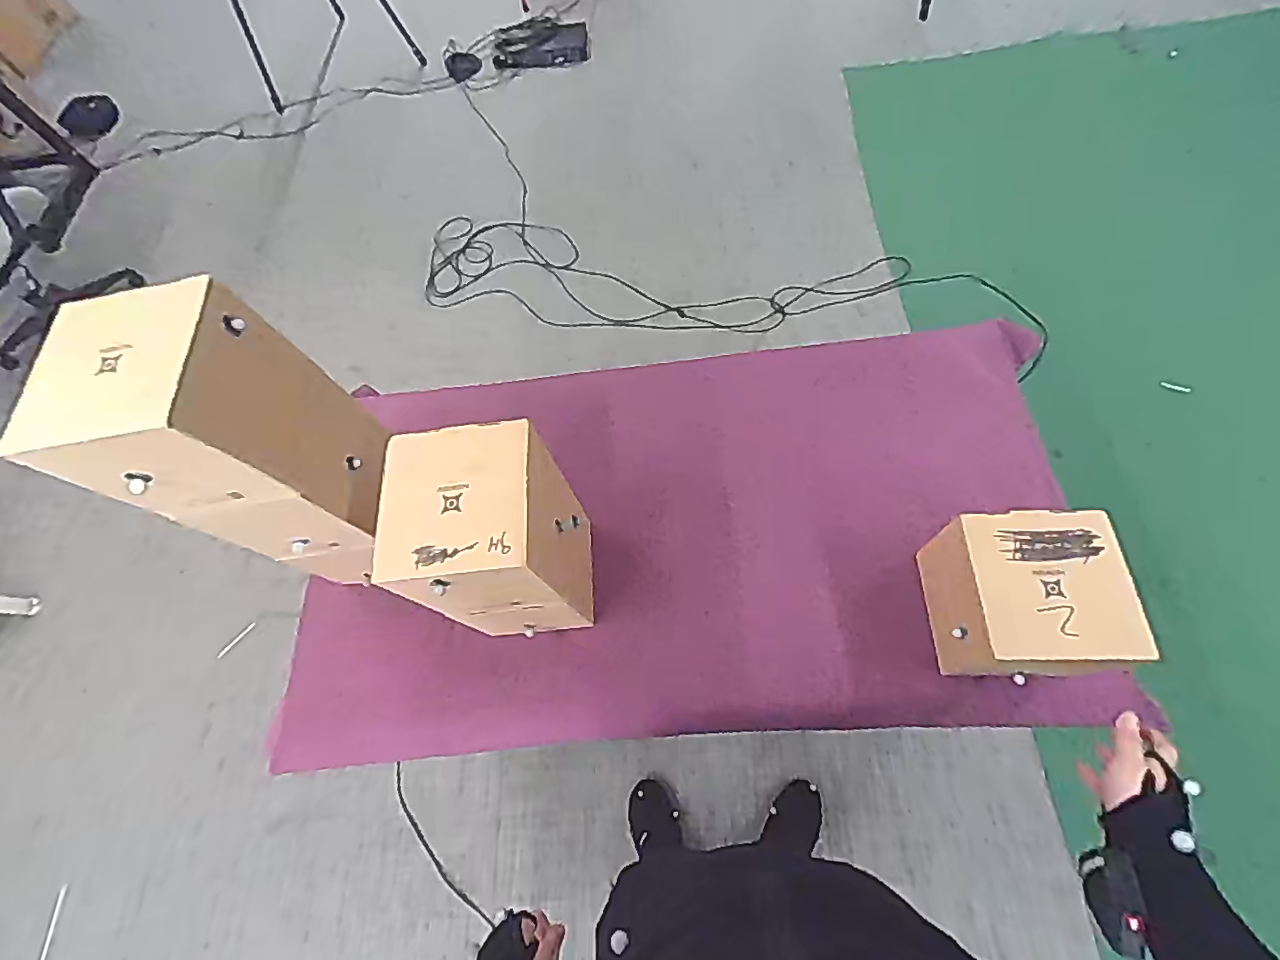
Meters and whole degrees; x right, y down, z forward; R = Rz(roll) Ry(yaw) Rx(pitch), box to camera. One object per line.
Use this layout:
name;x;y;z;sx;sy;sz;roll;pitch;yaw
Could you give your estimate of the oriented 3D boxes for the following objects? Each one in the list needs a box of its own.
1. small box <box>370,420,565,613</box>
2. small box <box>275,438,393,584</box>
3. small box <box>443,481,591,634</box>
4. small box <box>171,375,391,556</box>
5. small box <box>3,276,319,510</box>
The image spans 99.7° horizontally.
small box;-0.191;0.051;0.652;0.168;0.176;0.179;-7;64;5
small box;-0.434;0.055;0.867;0.168;0.176;0.179;-8;66;5
small box;-0.170;0.121;0.801;0.168;0.176;0.179;-7;65;5
small box;-0.454;-0.012;0.719;0.168;0.176;0.179;-8;66;5
small box;-0.476;-0.077;0.572;0.168;0.176;0.179;-9;65;5
